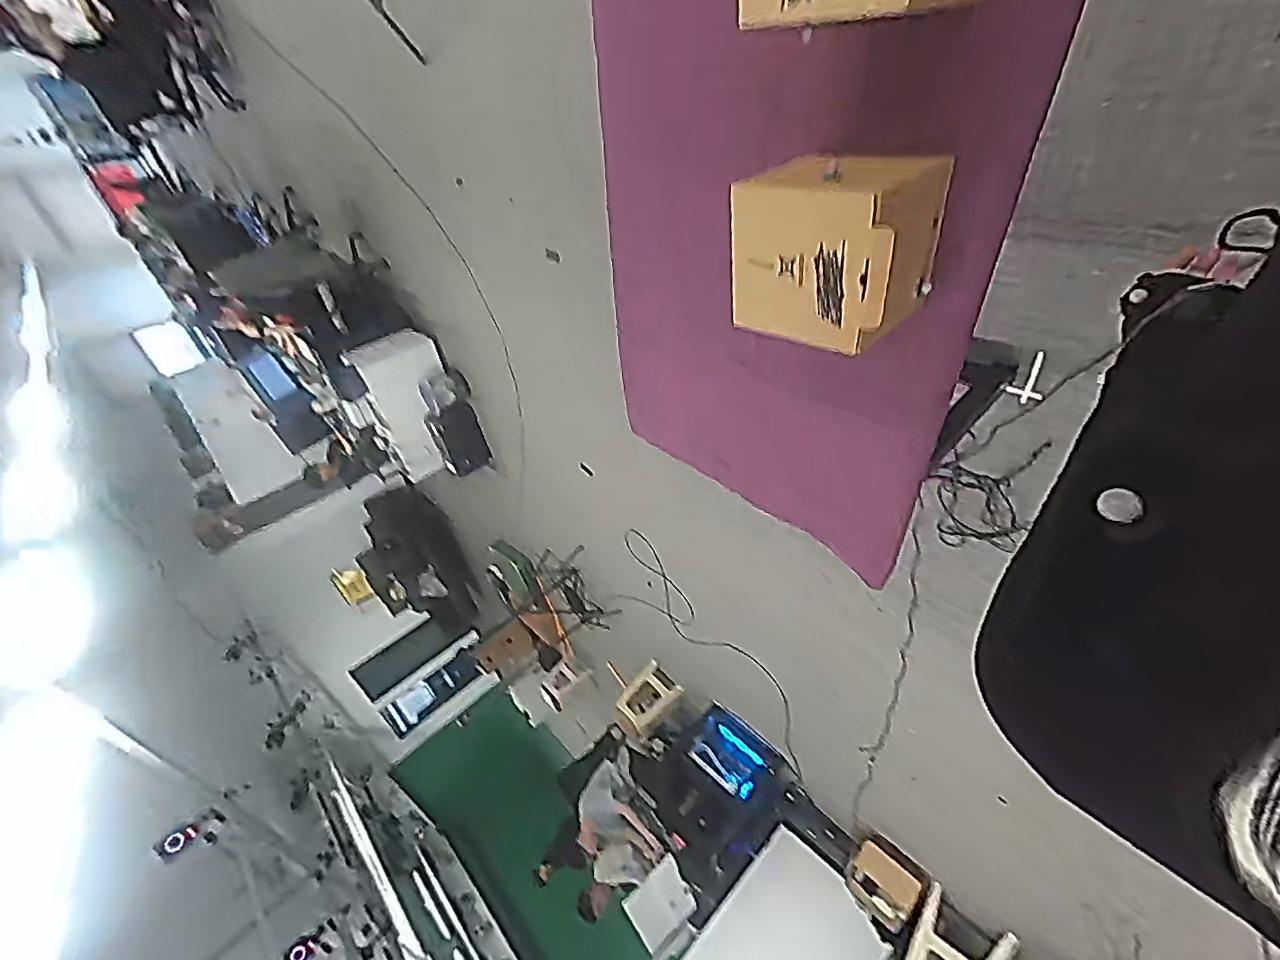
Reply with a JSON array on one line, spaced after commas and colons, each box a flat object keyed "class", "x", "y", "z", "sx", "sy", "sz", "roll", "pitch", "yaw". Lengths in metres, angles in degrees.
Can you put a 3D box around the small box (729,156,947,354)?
[{"class": "small box", "x": 0.227, "y": -0.272, "z": 0.636, "sx": 0.179, "sy": 0.176, "sz": 0.168, "roll": 29, "pitch": 142, "yaw": 39}]
